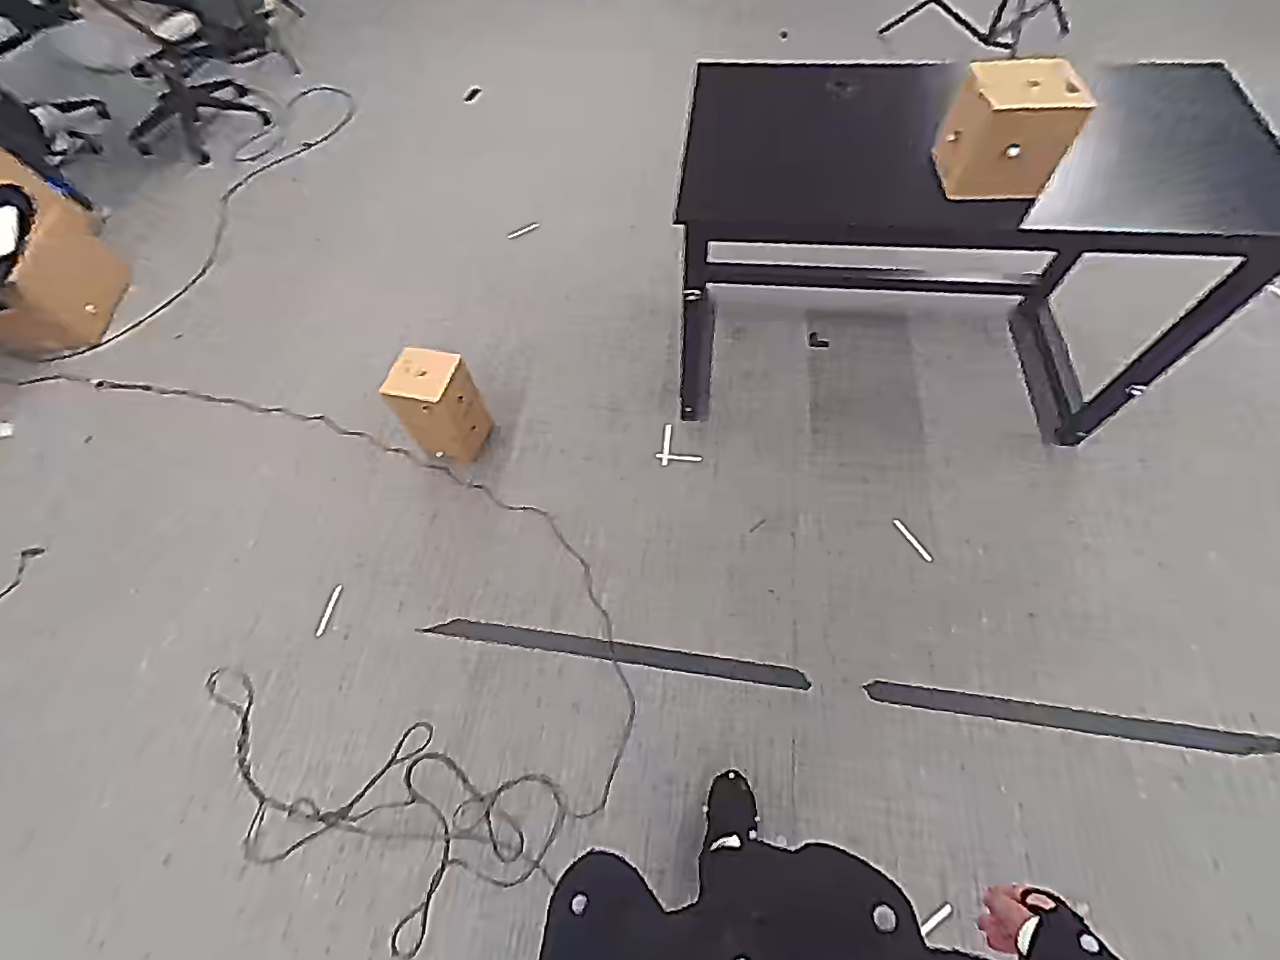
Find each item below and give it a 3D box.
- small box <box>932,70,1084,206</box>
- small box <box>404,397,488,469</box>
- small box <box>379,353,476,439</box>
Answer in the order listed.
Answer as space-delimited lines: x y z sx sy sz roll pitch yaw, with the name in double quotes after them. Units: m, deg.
0.688 -0.652 1.042 0.179 0.176 0.168 0 61 5 "small box"
-0.592 -0.160 1.683 0.168 0.176 0.179 13 63 11 "small box"
-0.591 -0.233 1.535 0.179 0.176 0.168 10 61 9 "small box"
